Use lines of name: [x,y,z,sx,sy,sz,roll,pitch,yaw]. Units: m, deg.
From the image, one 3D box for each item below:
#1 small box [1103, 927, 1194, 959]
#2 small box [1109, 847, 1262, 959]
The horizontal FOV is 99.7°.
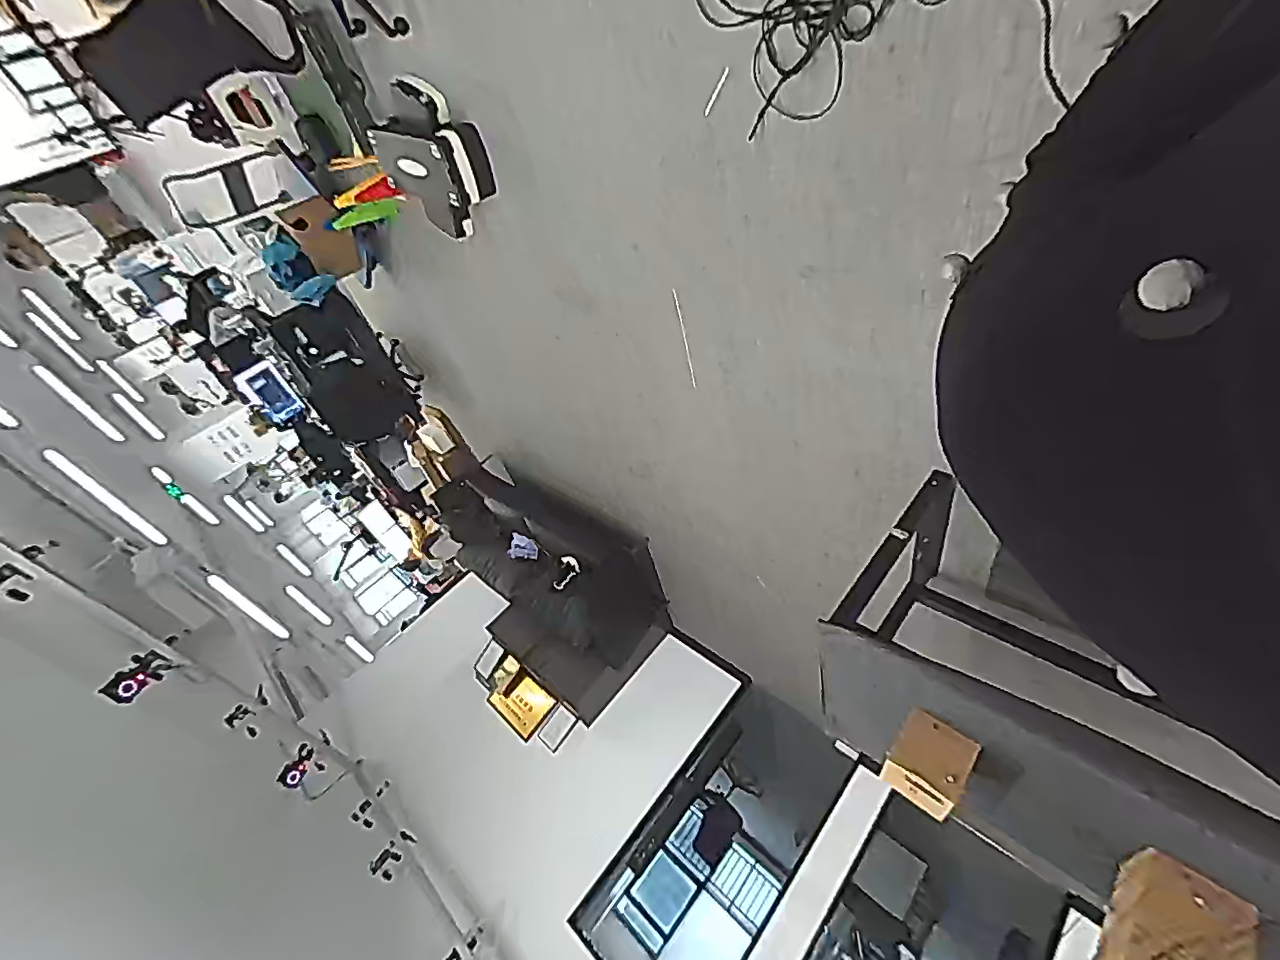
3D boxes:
small box: [1.012,1.010,1.041,0.168,0.176,0.179,27,149,36]
small box: [1.117,0.905,1.111,0.168,0.176,0.179,25,147,37]
